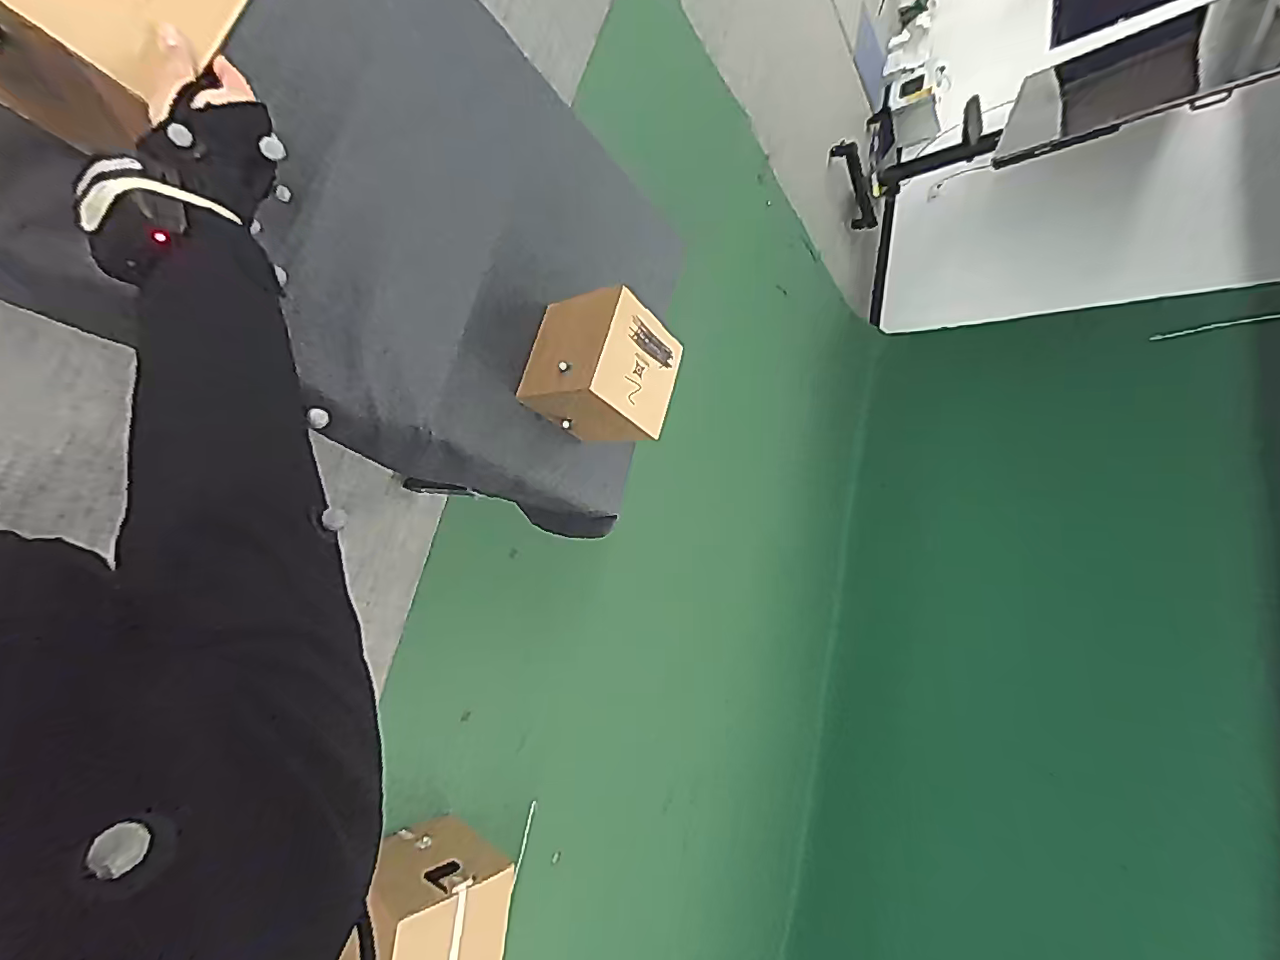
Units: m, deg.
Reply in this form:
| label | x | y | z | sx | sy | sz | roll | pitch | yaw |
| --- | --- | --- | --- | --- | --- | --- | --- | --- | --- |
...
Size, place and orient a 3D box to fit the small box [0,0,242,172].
| label | x | y | z | sx | sy | sz | roll | pitch | yaw |
| --- | --- | --- | --- | --- | --- | --- | --- | --- | --- |
| small box | -0.440 | -0.372 | 0.403 | 0.179 | 0.176 | 0.168 | 31 | 70 | -48 |
